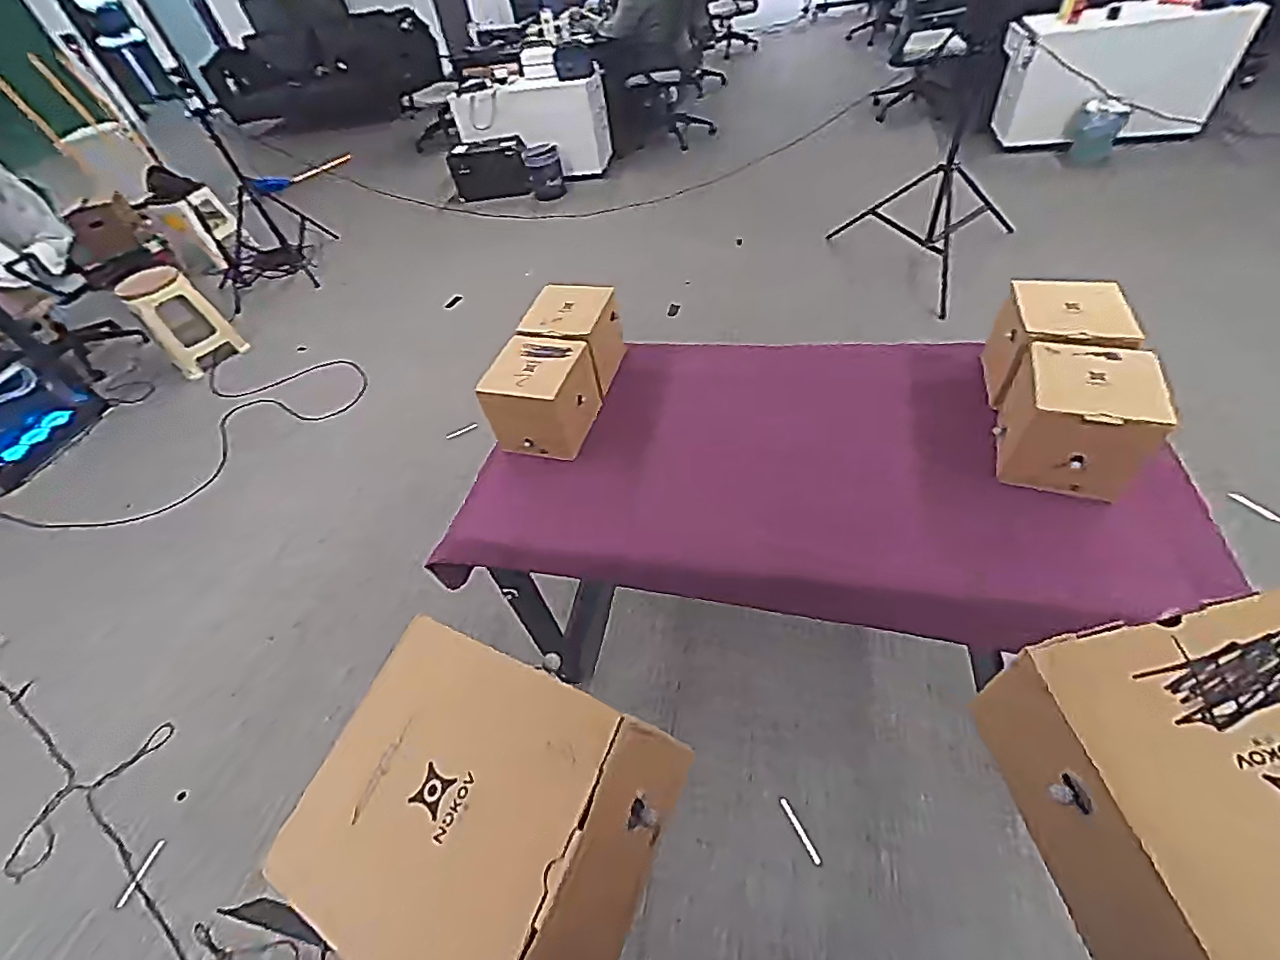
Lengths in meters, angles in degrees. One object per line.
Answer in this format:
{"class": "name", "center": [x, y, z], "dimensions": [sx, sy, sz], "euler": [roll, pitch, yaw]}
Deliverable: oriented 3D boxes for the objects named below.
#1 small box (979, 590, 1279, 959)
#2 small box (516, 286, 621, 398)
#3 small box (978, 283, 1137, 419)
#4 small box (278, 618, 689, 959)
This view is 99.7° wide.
{"class": "small box", "center": [0.350, 0.195, 0.338], "dimensions": [0.168, 0.176, 0.179], "euler": [-17, 54, 7]}
{"class": "small box", "center": [-0.147, -0.309, 1.203], "dimensions": [0.168, 0.176, 0.179], "euler": [8, 52, 16]}
{"class": "small box", "center": [0.743, -0.237, 0.988], "dimensions": [0.168, 0.176, 0.179], "euler": [8, 50, 15]}
{"class": "small box", "center": [-0.084, 0.222, 0.374], "dimensions": [0.179, 0.176, 0.168], "euler": [13, 63, 28]}
